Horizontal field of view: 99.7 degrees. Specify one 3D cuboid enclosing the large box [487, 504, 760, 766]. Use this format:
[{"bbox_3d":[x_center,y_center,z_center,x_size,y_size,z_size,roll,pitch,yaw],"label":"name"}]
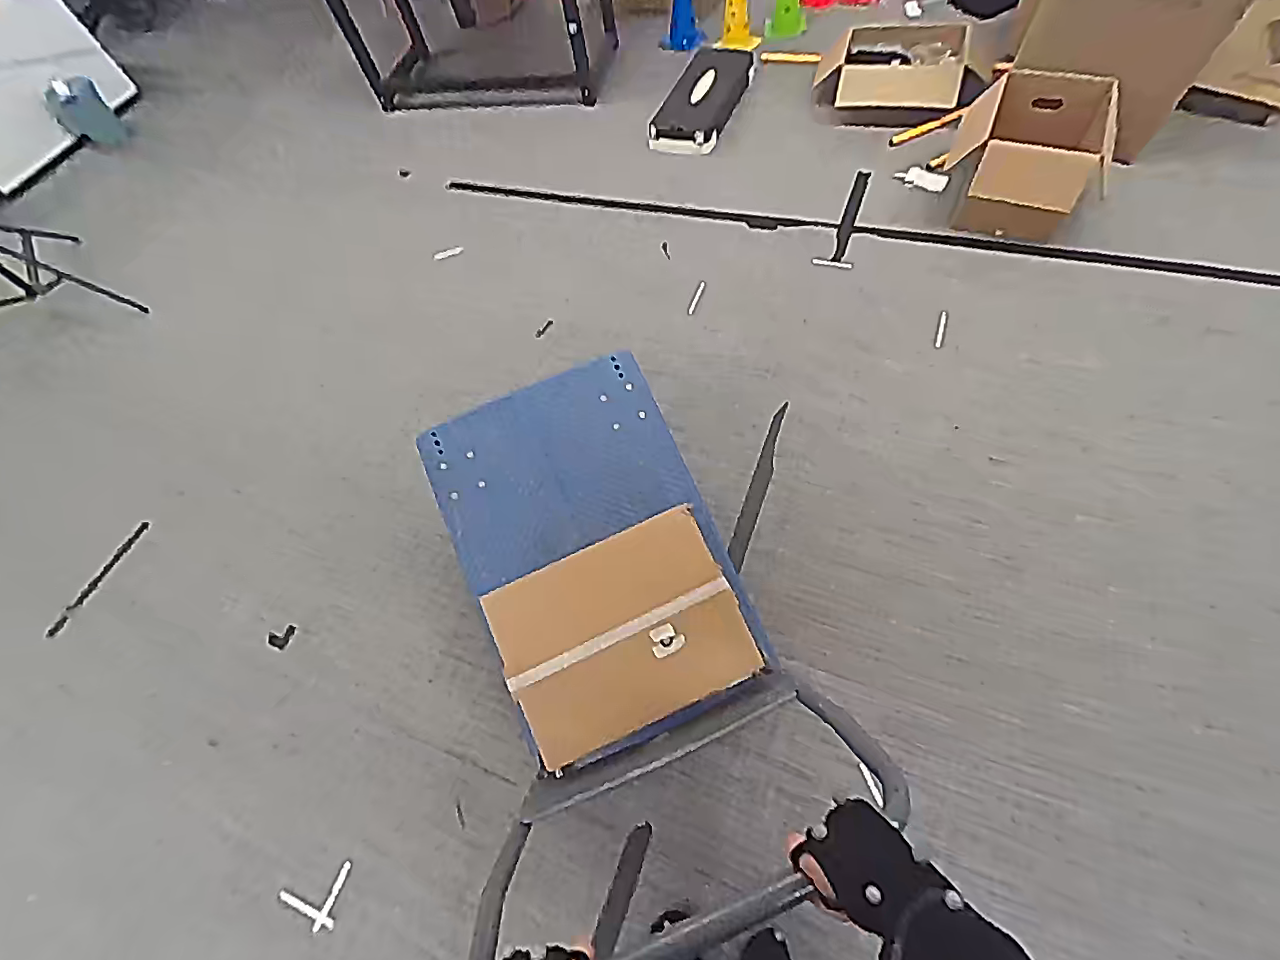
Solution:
[{"bbox_3d":[-0.033,0.295,1.093,0.408,0.320,0.320,-25,80,-6],"label":"large box"}]
